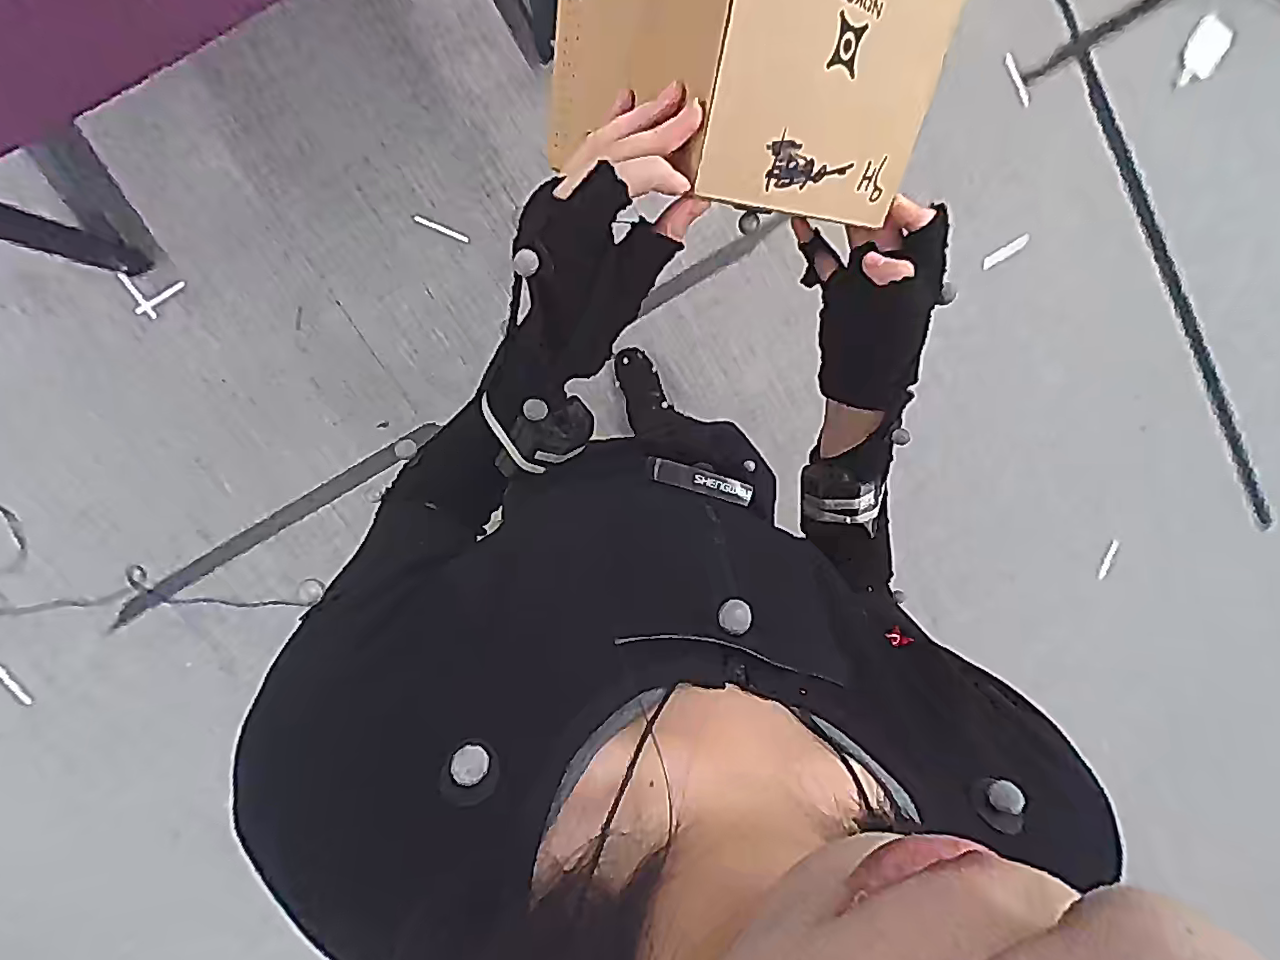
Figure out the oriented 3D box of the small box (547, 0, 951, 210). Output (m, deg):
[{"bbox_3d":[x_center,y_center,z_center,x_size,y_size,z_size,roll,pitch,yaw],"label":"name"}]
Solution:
[{"bbox_3d":[0.056,-0.272,0.319,0.168,0.176,0.179,-11,123,-33],"label":"small box"}]
